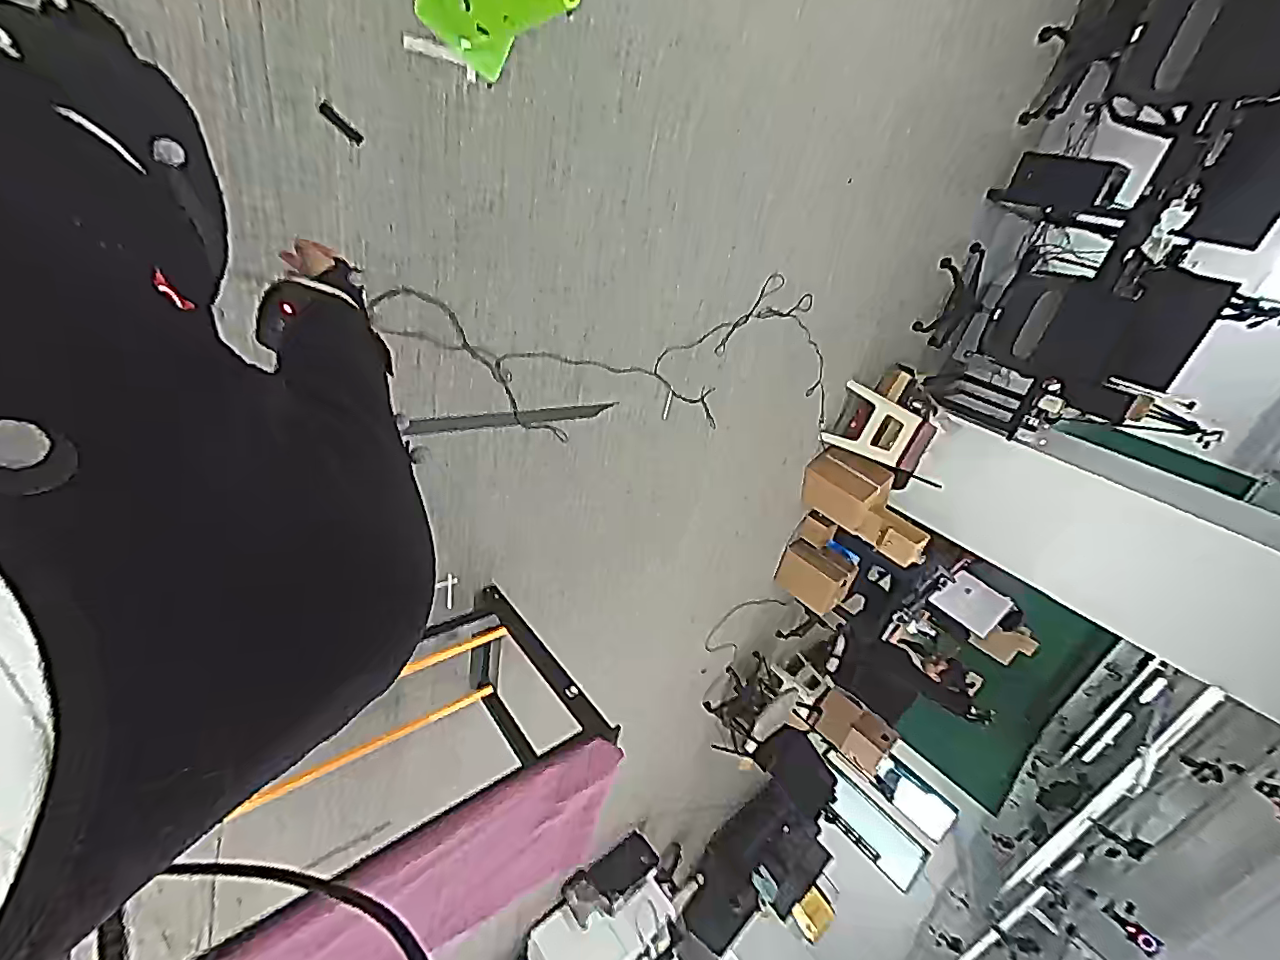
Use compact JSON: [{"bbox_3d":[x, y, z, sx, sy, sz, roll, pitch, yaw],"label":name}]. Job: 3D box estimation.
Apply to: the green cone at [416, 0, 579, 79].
[{"bbox_3d":[-0.231,-0.903,1.011,0.200,0.368,0.202,14,109,-51],"label":"green cone"}]
